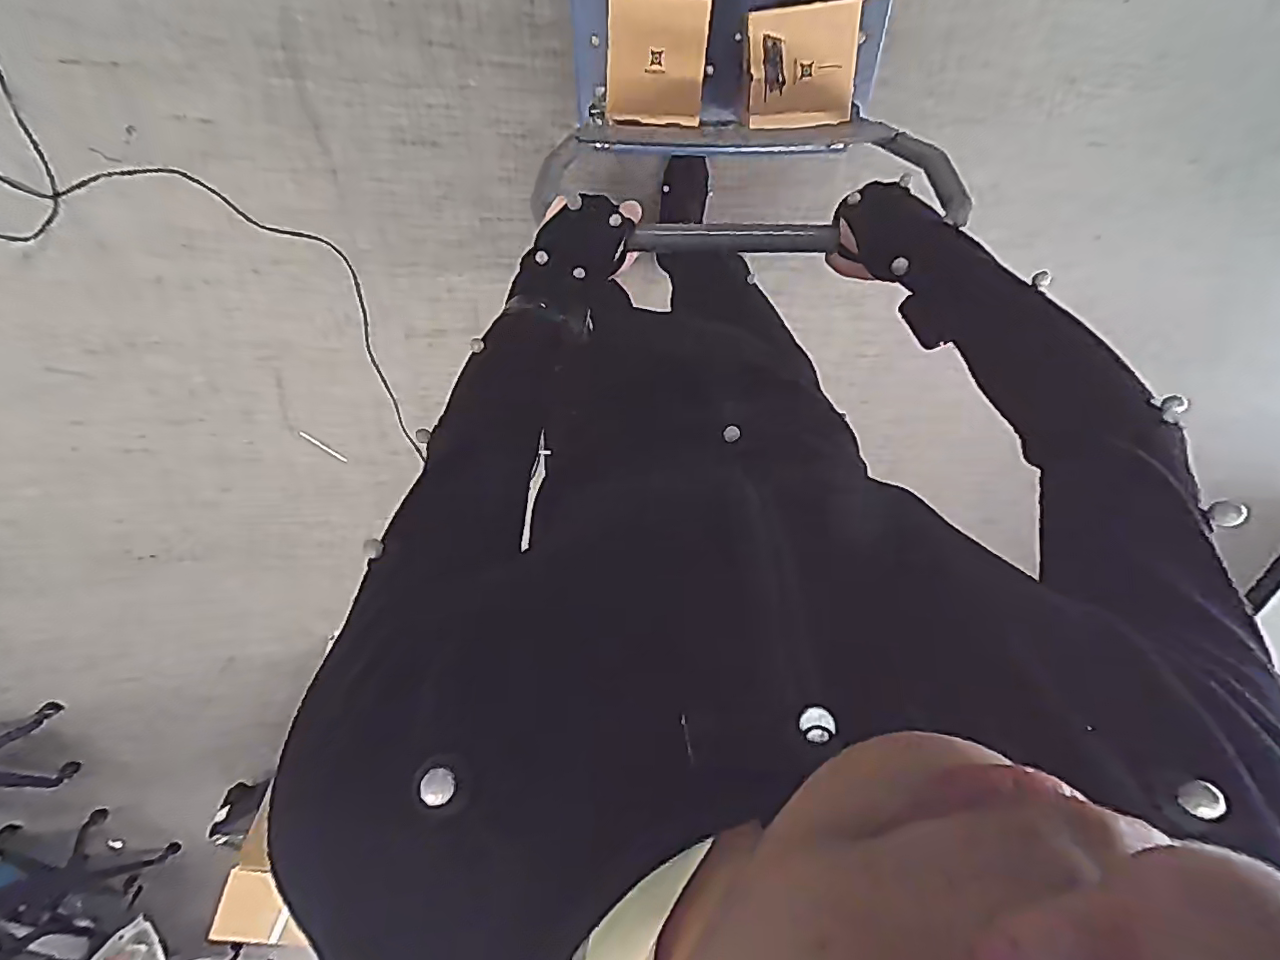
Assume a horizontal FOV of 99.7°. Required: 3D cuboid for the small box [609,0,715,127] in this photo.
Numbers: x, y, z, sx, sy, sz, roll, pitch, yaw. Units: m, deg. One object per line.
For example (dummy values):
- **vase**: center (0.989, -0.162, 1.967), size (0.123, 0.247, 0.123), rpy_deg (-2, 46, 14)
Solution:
- **small box**: center (0.035, -0.751, 0.962), size (0.168, 0.176, 0.179), rpy_deg (5, 132, 0)
